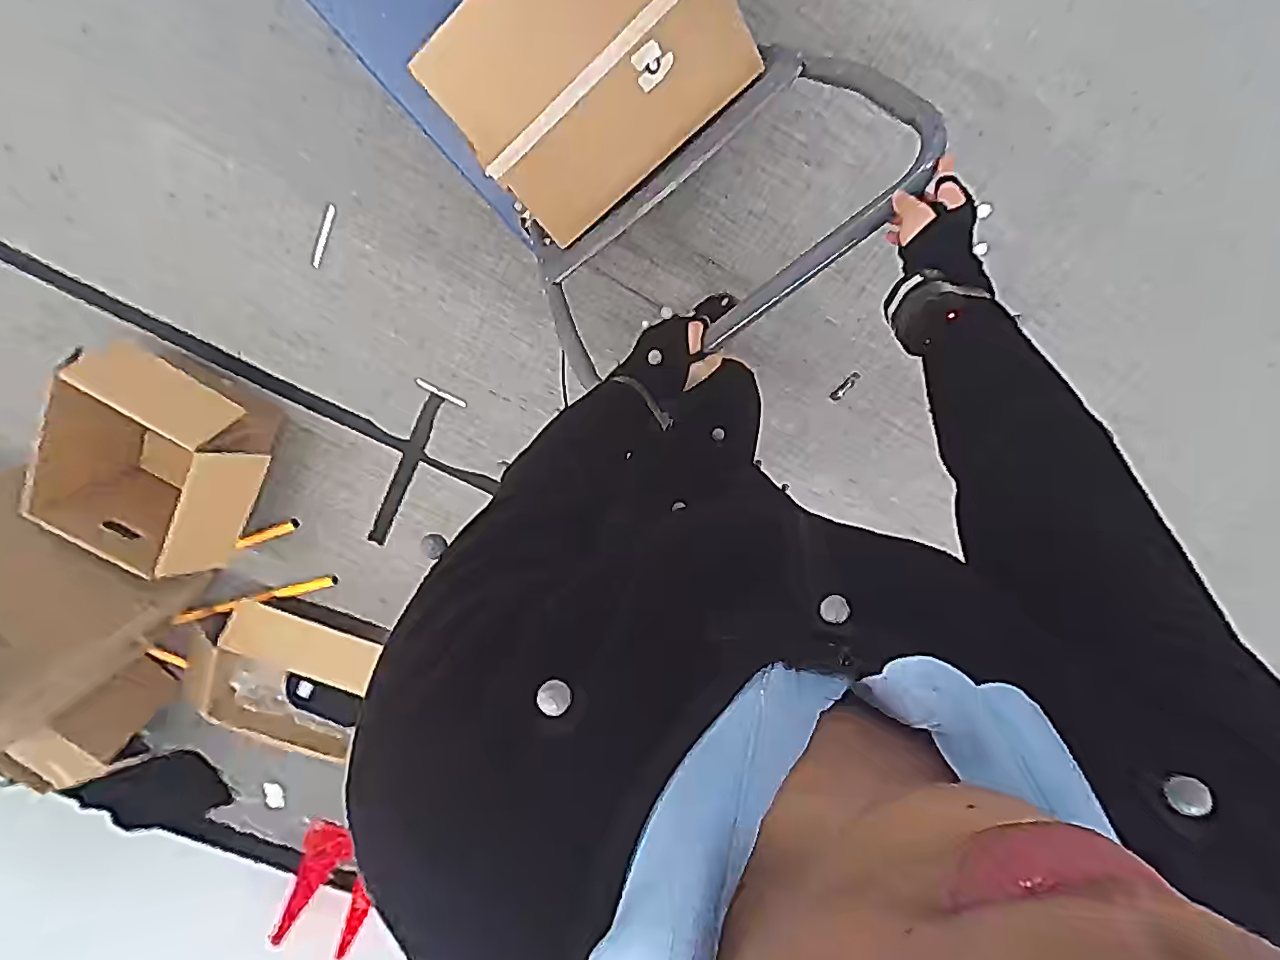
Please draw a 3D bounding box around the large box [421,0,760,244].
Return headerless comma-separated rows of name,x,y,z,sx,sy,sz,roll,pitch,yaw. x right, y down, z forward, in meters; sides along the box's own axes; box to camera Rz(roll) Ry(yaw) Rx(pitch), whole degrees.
large box,-0.091,-0.679,0.882,0.408,0.320,0.320,-37,129,15
